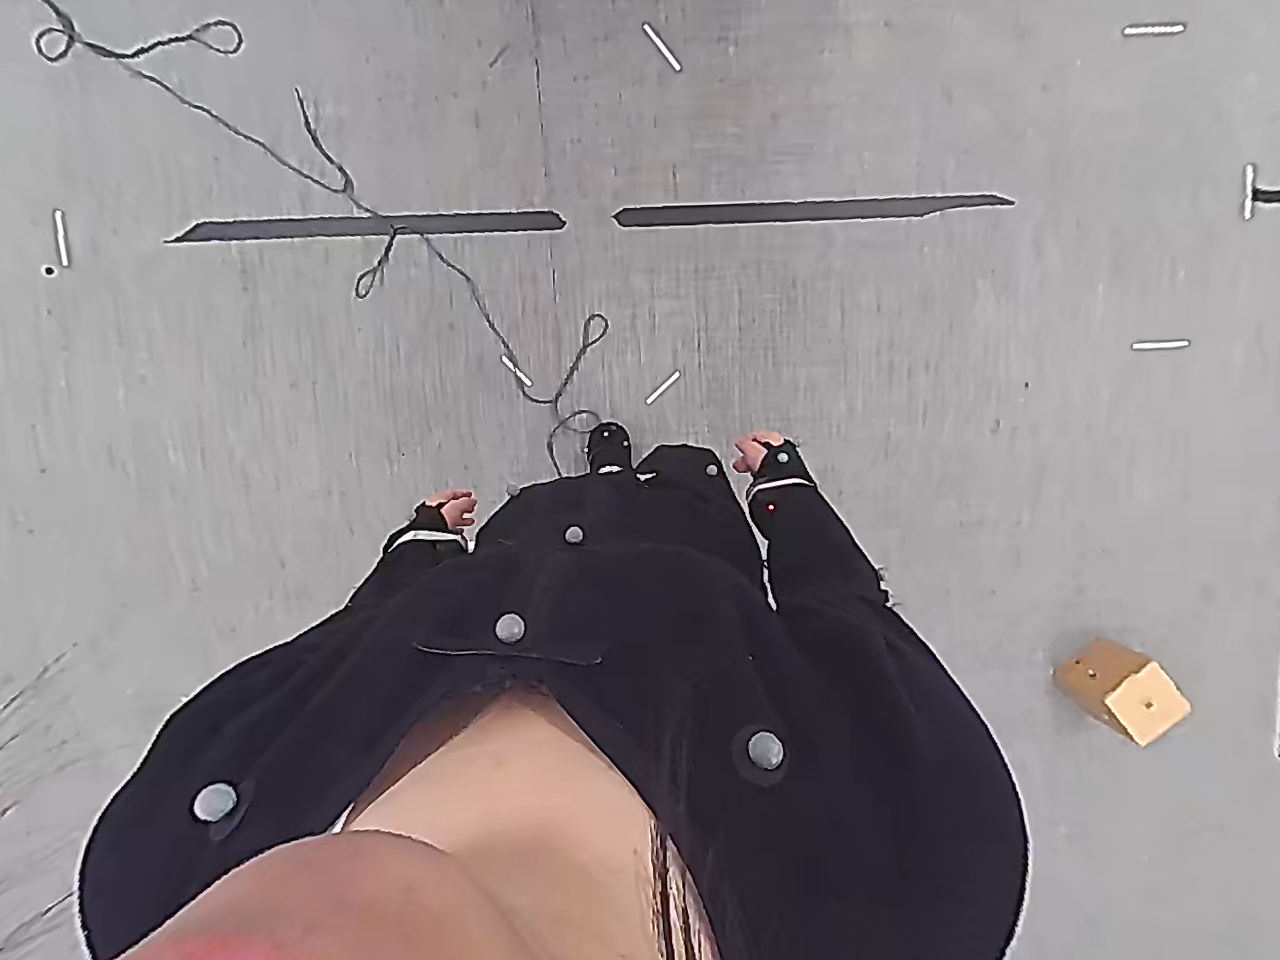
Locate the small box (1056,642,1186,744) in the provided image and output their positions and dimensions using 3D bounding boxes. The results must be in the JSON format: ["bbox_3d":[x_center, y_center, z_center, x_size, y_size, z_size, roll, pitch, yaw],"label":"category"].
[{"bbox_3d":[1.305,0.570,1.482,0.168,0.176,0.179,-41,96,4],"label":"small box"}]
